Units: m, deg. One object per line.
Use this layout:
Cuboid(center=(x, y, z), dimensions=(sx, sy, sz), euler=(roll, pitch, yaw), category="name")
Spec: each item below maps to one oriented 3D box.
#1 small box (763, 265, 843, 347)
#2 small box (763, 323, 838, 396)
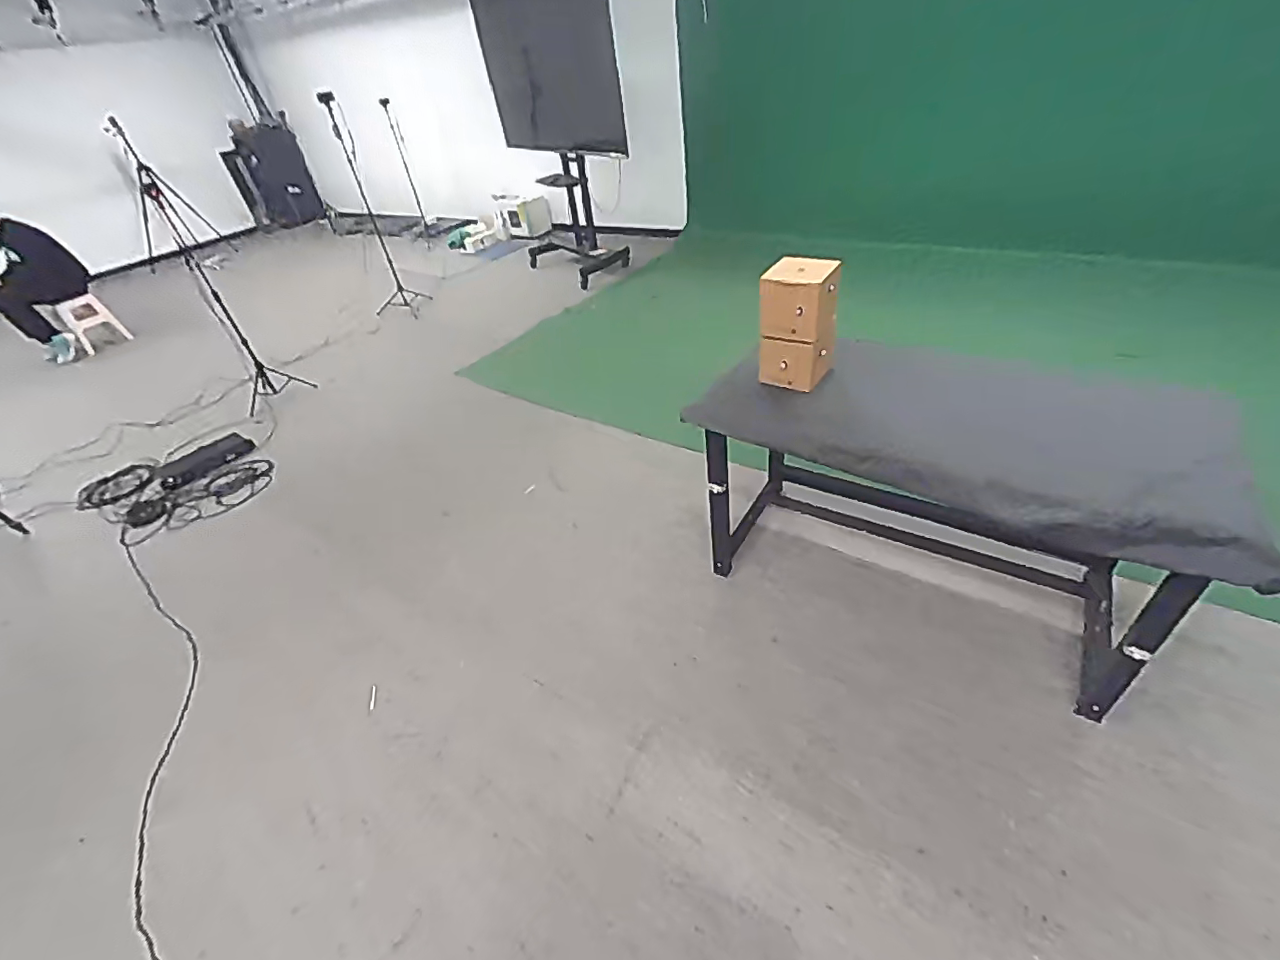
Cuboid(center=(0.461, -0.495, 1.535), dimensions=(0.168, 0.176, 0.179), euler=(19, 45, 29), category="small box")
Cuboid(center=(0.486, -0.377, 1.645), dimensions=(0.168, 0.176, 0.179), euler=(21, 47, 31), category="small box")
